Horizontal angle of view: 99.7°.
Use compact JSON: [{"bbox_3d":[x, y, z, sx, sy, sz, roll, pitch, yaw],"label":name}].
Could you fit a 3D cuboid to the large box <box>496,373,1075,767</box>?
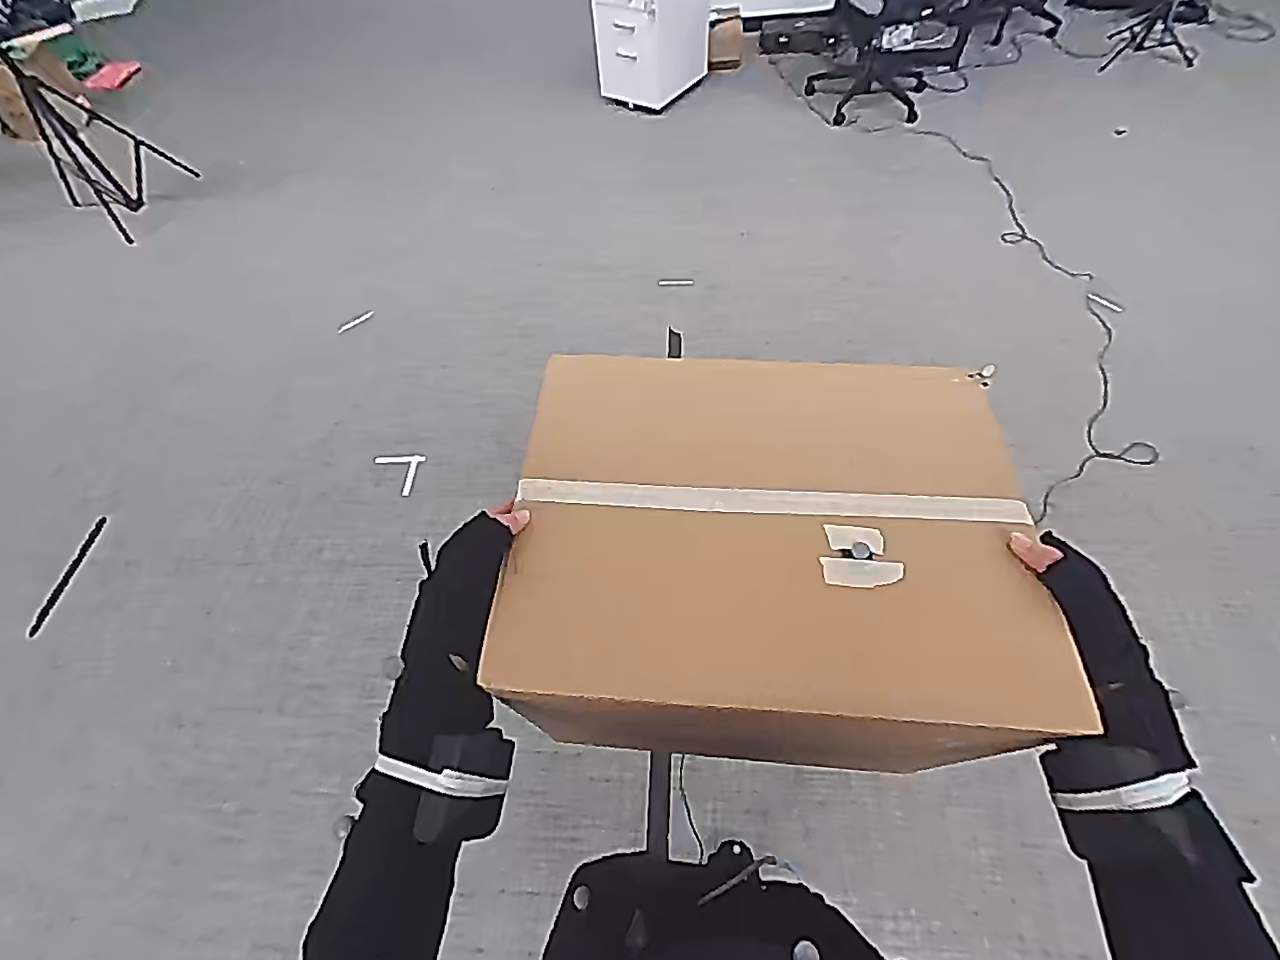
[{"bbox_3d":[0.106,0.108,0.573,0.408,0.320,0.320,3,59,4],"label":"large box"}]
